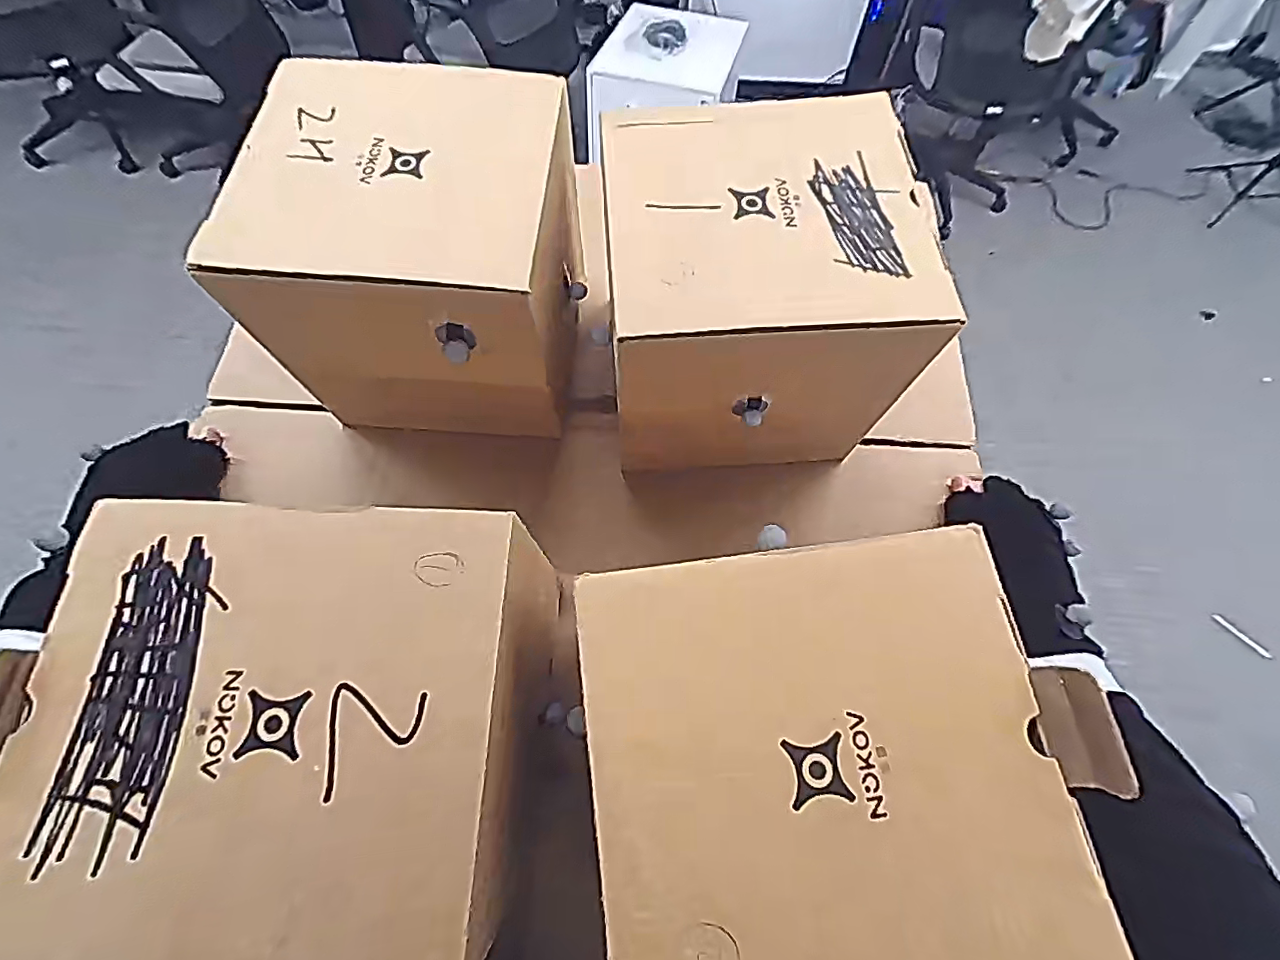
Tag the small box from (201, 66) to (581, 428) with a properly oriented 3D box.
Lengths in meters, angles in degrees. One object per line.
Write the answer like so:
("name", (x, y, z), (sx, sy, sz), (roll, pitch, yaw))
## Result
("small box", (-0.140, -0.149, 0.387), (0.179, 0.176, 0.168), (5, 68, 1))
